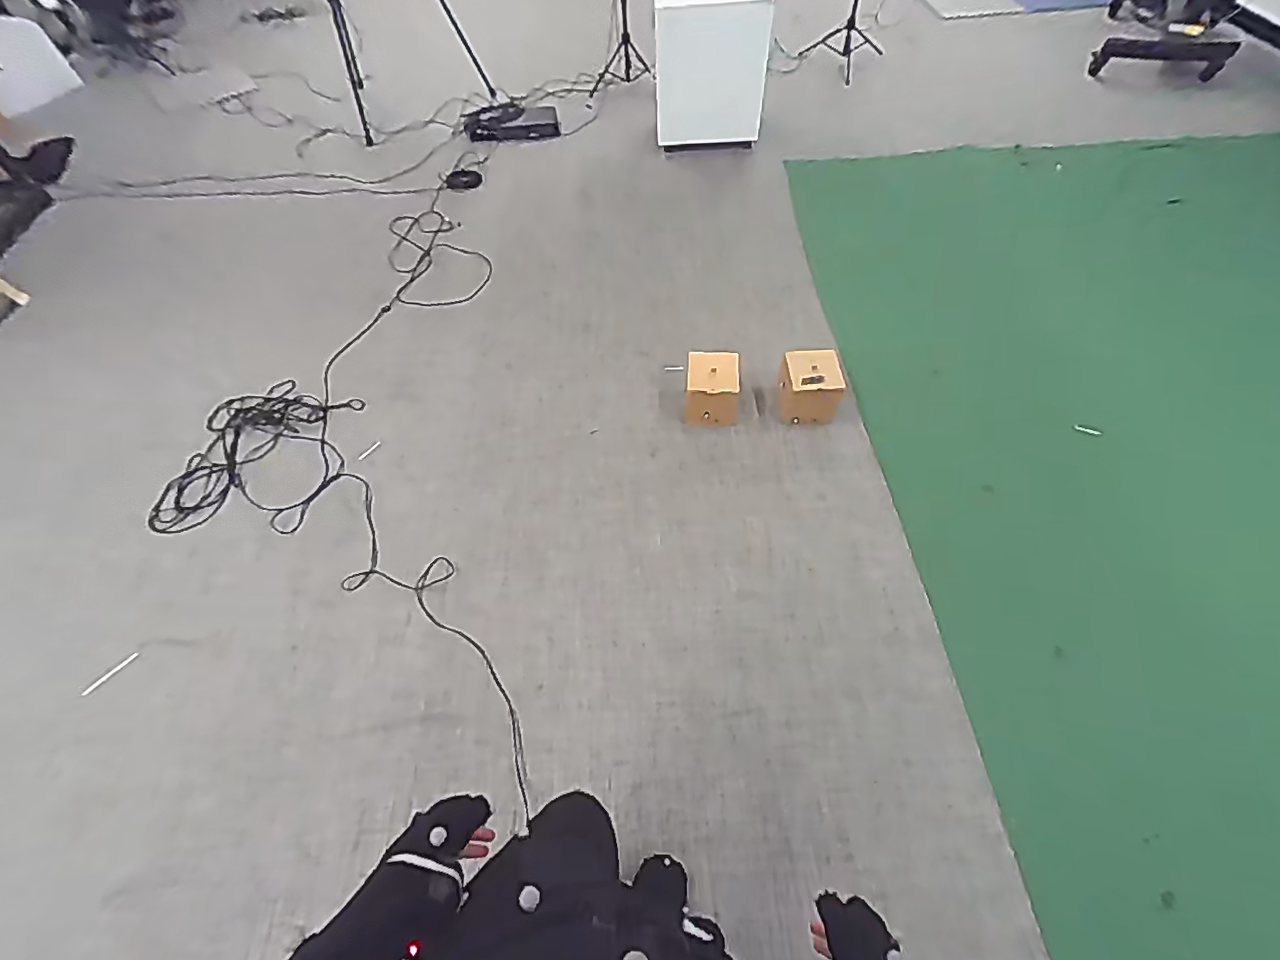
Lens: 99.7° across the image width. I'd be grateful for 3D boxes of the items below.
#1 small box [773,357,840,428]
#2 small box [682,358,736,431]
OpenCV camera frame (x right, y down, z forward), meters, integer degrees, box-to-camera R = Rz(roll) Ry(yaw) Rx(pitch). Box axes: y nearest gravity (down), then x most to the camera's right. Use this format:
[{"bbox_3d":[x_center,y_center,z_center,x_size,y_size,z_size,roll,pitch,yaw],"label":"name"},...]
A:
[{"bbox_3d":[0.547,-0.287,1.799,0.168,0.176,0.179,-2,56,1],"label":"small box"},{"bbox_3d":[0.228,-0.285,1.812,0.168,0.176,0.179,2,57,4],"label":"small box"}]
